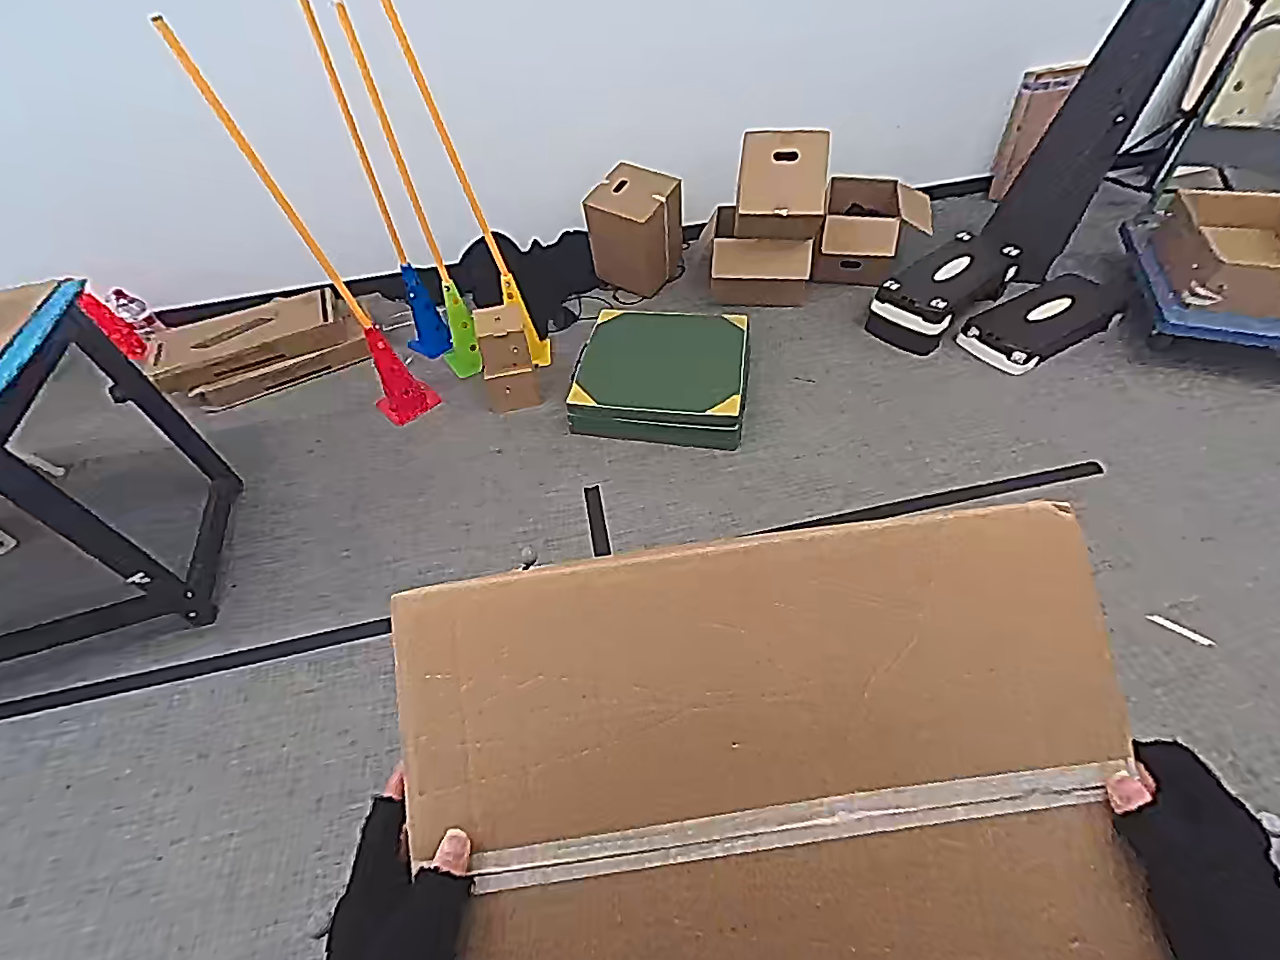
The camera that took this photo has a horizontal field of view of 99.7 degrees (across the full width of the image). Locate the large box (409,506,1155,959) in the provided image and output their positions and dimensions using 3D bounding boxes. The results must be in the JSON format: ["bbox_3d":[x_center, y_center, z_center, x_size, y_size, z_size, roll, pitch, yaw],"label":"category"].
[{"bbox_3d":[0.076,0.217,0.461,0.408,0.320,0.320,-9,83,0],"label":"large box"}]
